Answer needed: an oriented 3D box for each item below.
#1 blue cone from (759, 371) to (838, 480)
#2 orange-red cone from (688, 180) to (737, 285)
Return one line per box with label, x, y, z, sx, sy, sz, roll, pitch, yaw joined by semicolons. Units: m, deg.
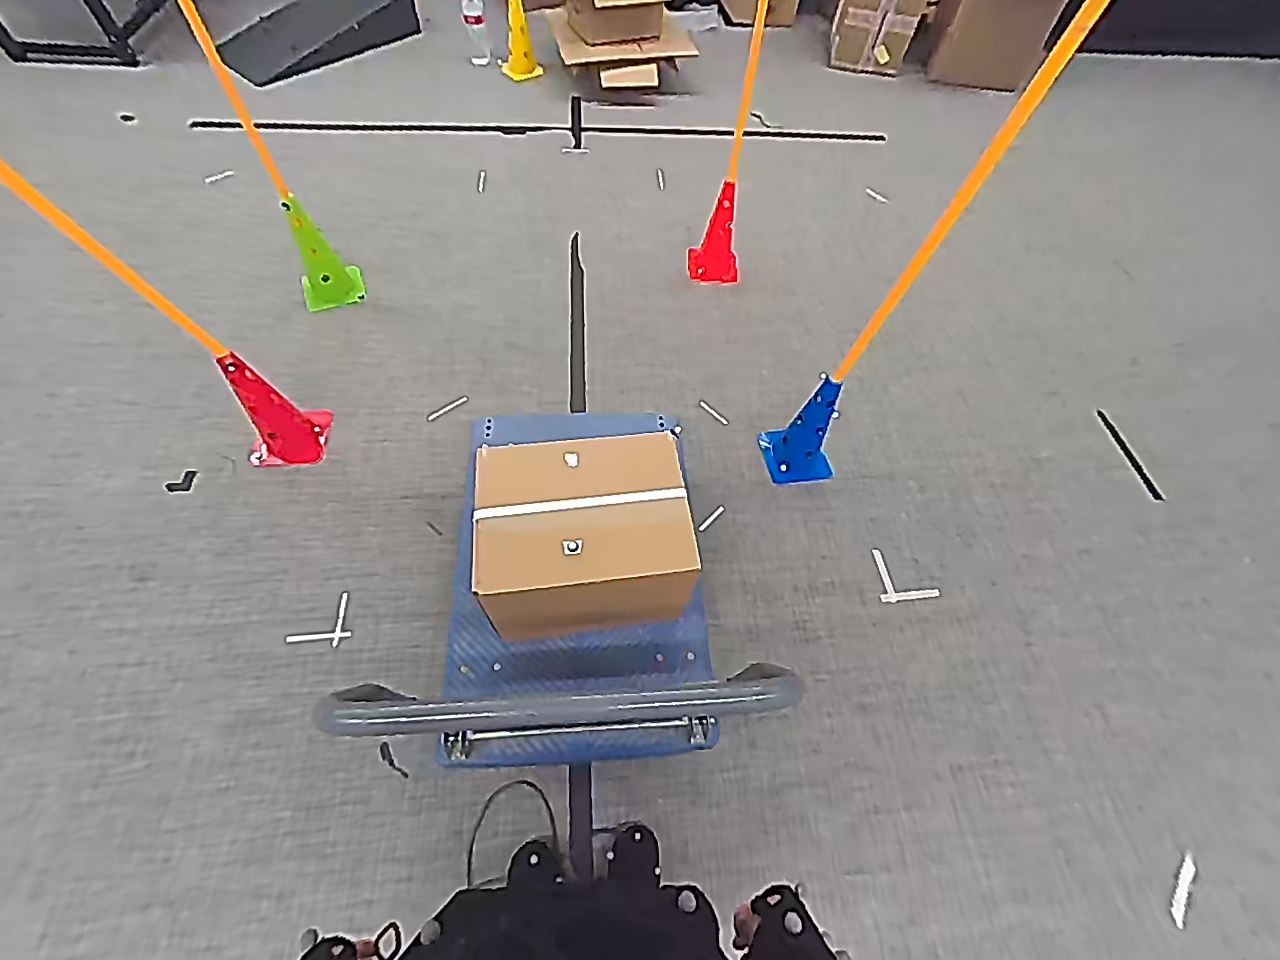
blue cone;0.501;-0.171;1.591;0.193;0.380;0.192;-5;58;-8
orange-red cone;0.305;-0.945;2.030;0.199;0.360;0.198;4;59;-3
